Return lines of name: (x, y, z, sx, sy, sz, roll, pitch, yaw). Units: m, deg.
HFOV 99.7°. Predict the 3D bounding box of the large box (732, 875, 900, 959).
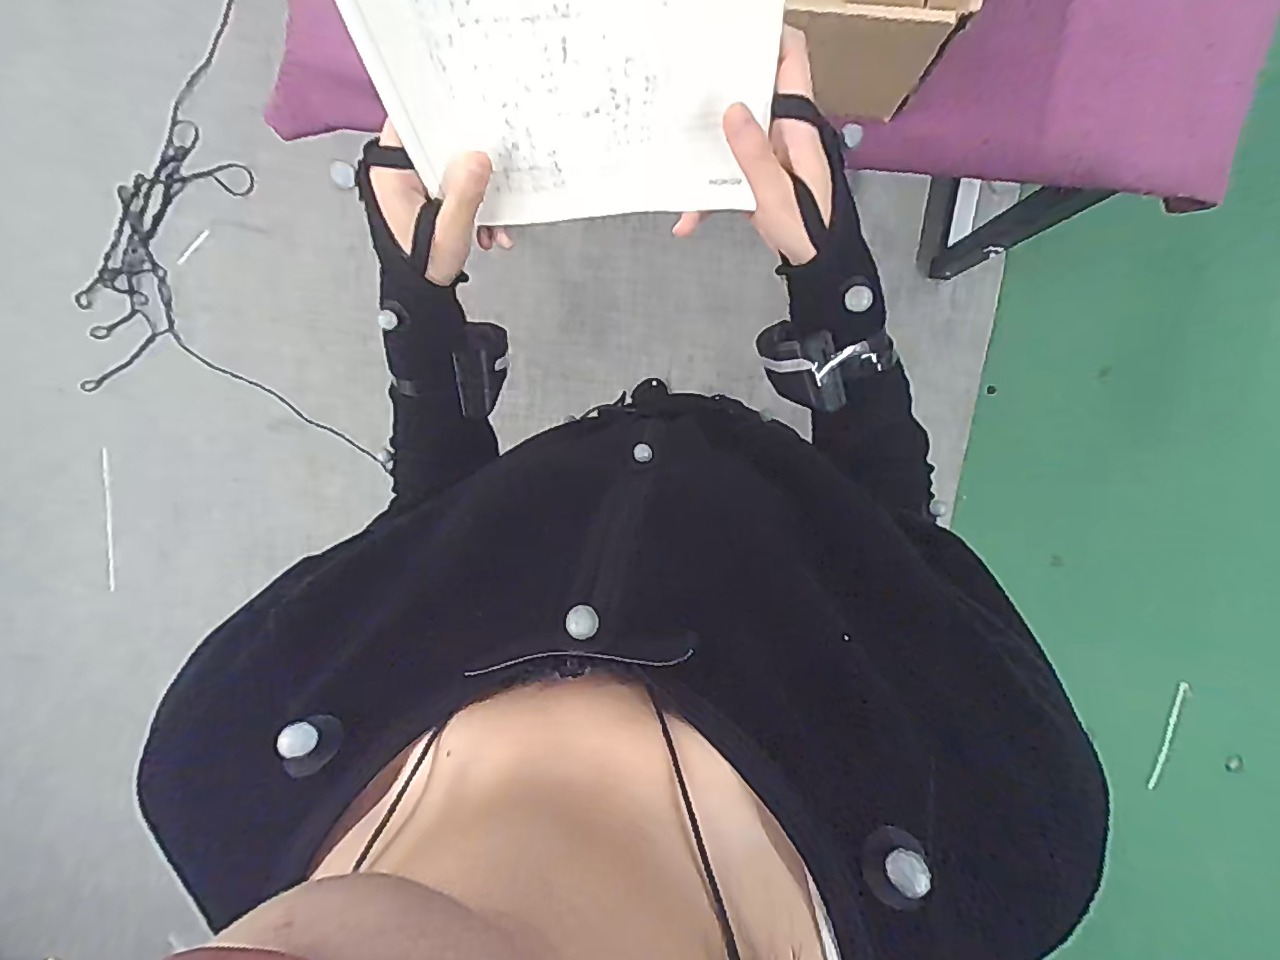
large box: (0.484, 1.364, 1.494, 0.408, 0.320, 0.320, -7, 98, 5)
